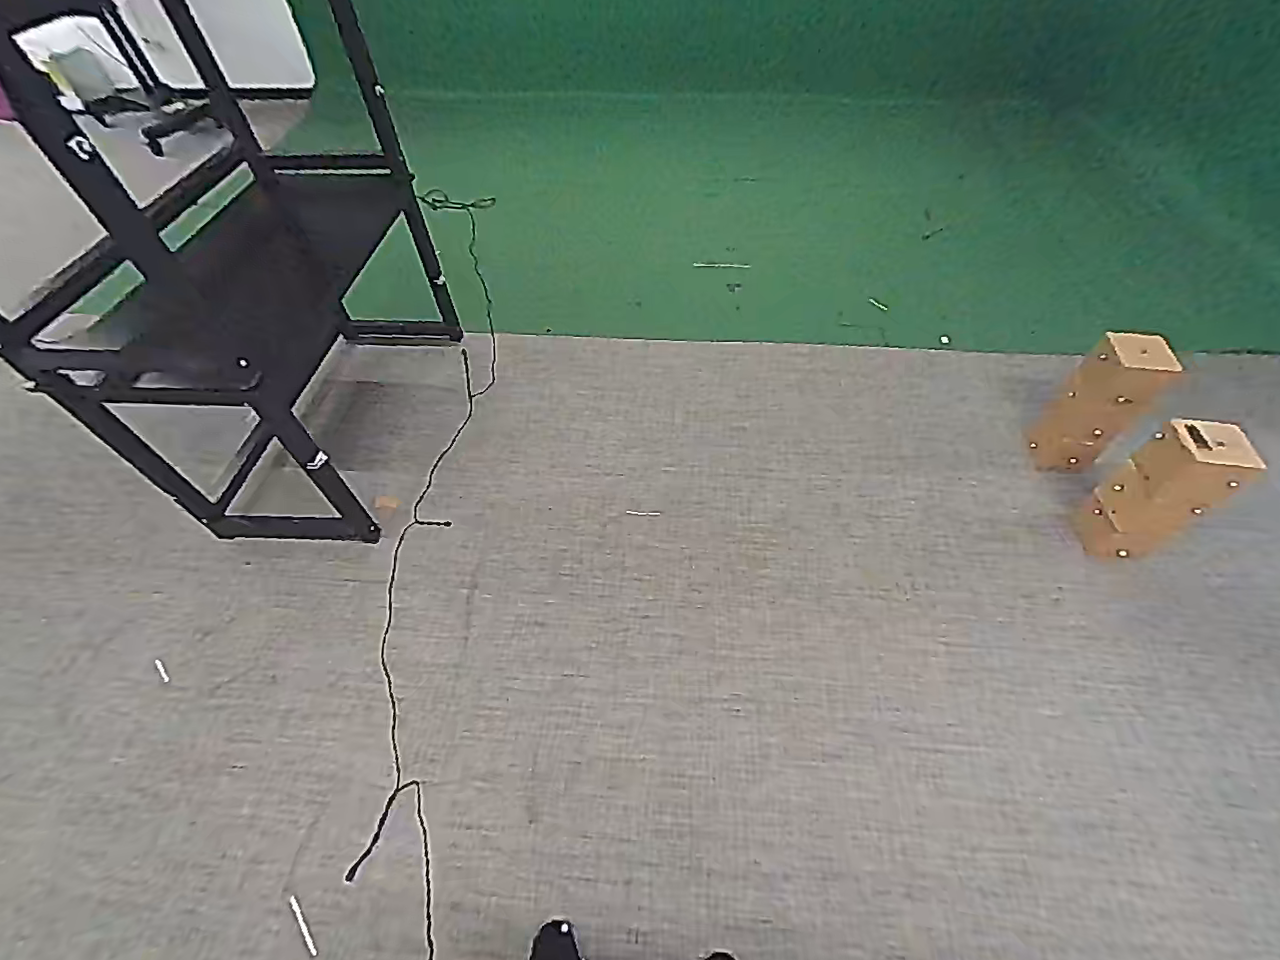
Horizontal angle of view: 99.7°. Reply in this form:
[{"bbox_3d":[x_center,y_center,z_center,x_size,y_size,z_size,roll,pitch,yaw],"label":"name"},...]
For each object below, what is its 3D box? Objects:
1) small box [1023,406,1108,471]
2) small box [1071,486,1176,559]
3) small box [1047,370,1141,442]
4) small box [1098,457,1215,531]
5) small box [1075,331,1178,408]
[{"bbox_3d":[1.582,-0.152,2.022,0.168,0.176,0.179,5,52,6],"label":"small box"},{"bbox_3d":[1.585,0.141,1.789,0.168,0.176,0.179,4,53,5],"label":"small box"},{"bbox_3d":[1.579,-0.260,1.897,0.168,0.176,0.179,5,52,7],"label":"small box"},{"bbox_3d":[1.564,0.045,1.659,0.179,0.176,0.168,1,52,2],"label":"small box"},{"bbox_3d":[1.577,-0.362,1.770,0.168,0.176,0.179,7,53,8],"label":"small box"}]
